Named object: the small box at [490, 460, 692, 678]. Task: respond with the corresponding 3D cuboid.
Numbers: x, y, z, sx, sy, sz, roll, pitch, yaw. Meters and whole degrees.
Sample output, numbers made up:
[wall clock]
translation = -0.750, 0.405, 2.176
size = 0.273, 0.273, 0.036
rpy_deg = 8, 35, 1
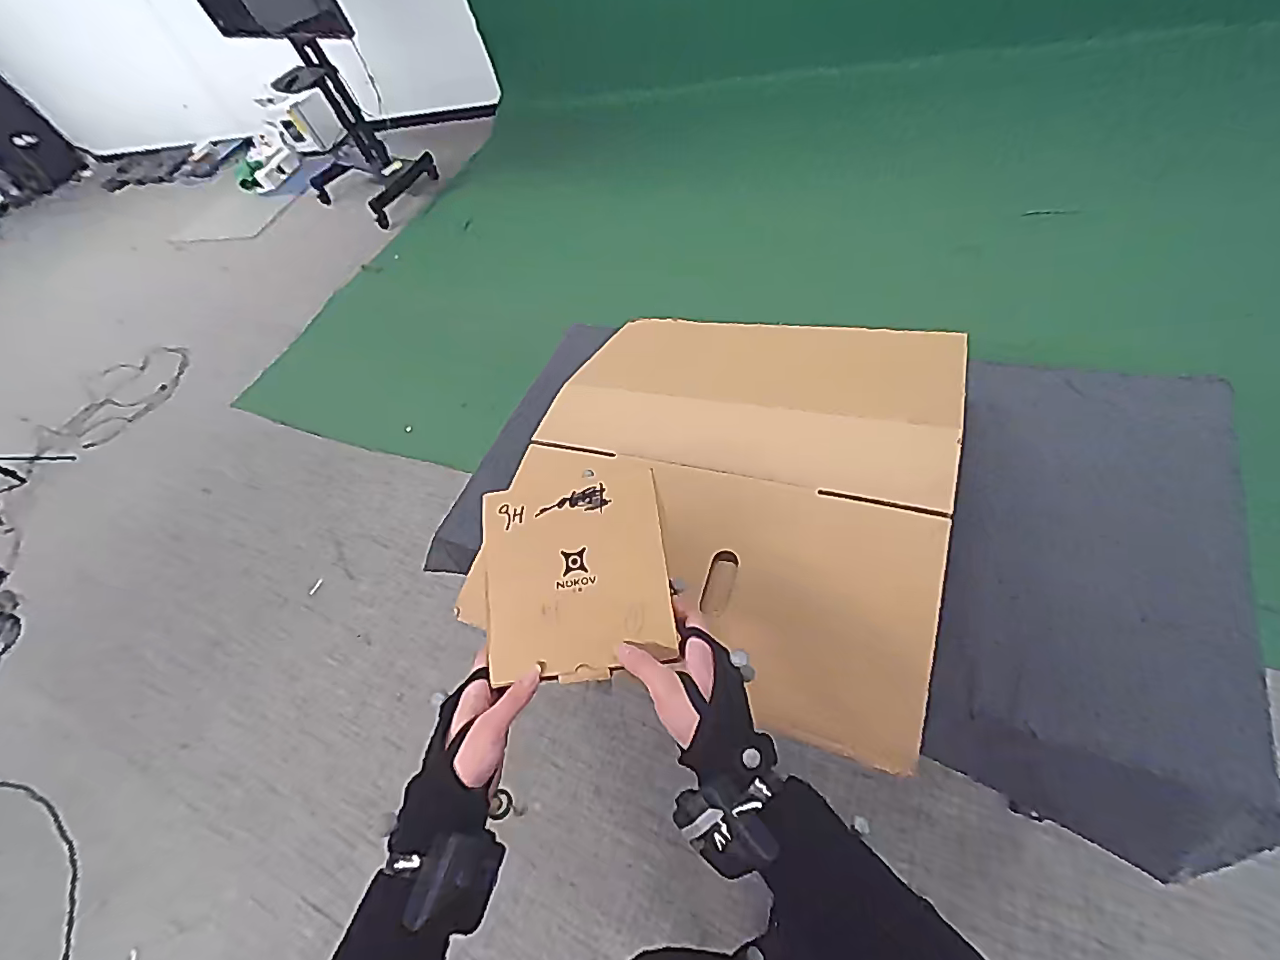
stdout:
[small box]
translation = -0.042, 0.101, 0.566
size = 0.168, 0.176, 0.179
rpy_deg = -12, 70, 4
